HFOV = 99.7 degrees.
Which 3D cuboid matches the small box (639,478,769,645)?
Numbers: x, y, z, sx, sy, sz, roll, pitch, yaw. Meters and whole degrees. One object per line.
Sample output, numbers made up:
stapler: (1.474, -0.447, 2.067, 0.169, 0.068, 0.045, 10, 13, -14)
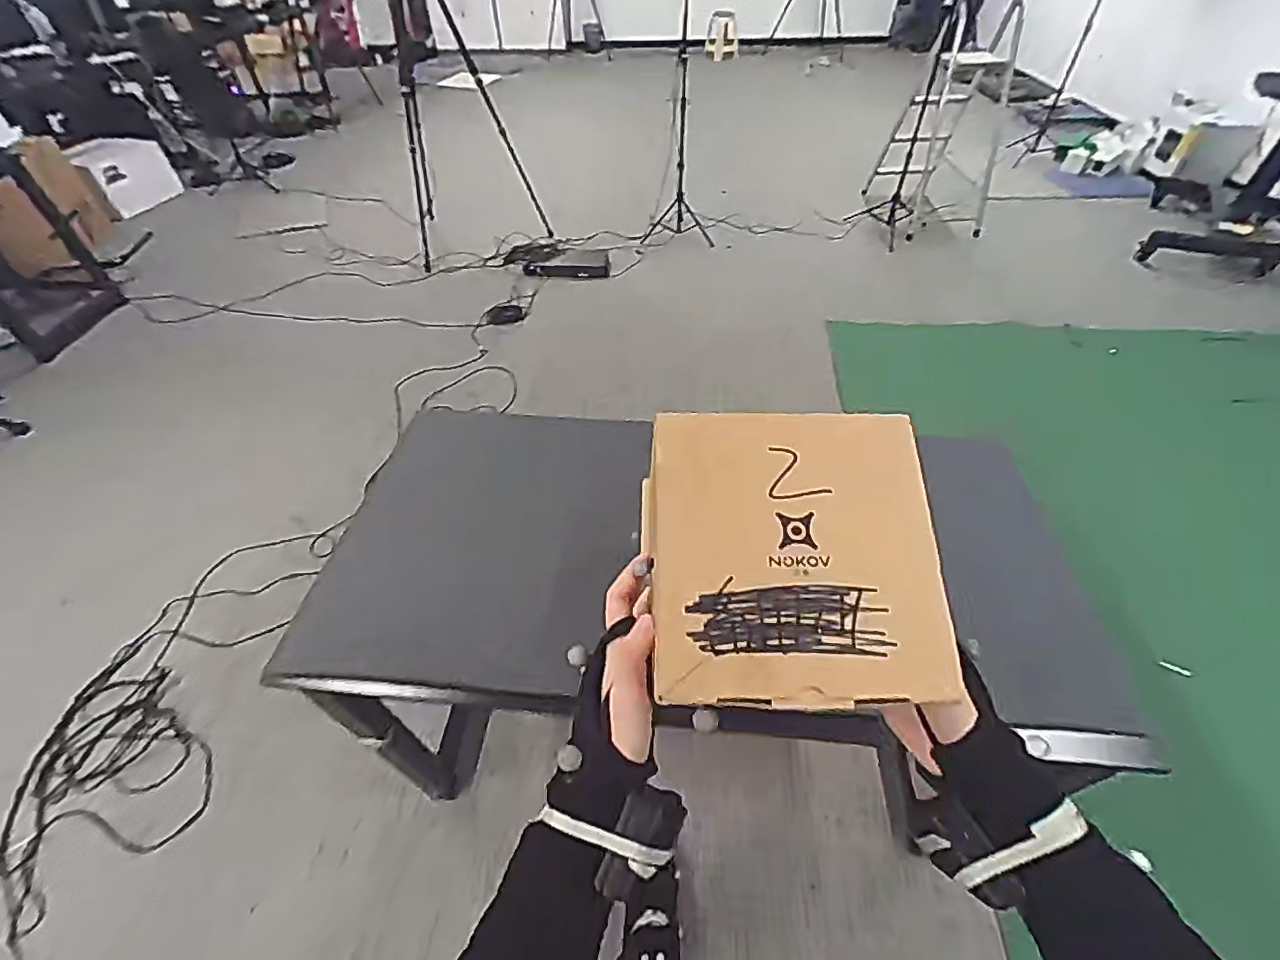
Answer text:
small box: (0.084, 0.117, 0.785, 0.168, 0.176, 0.179, 0, 45, 2)
